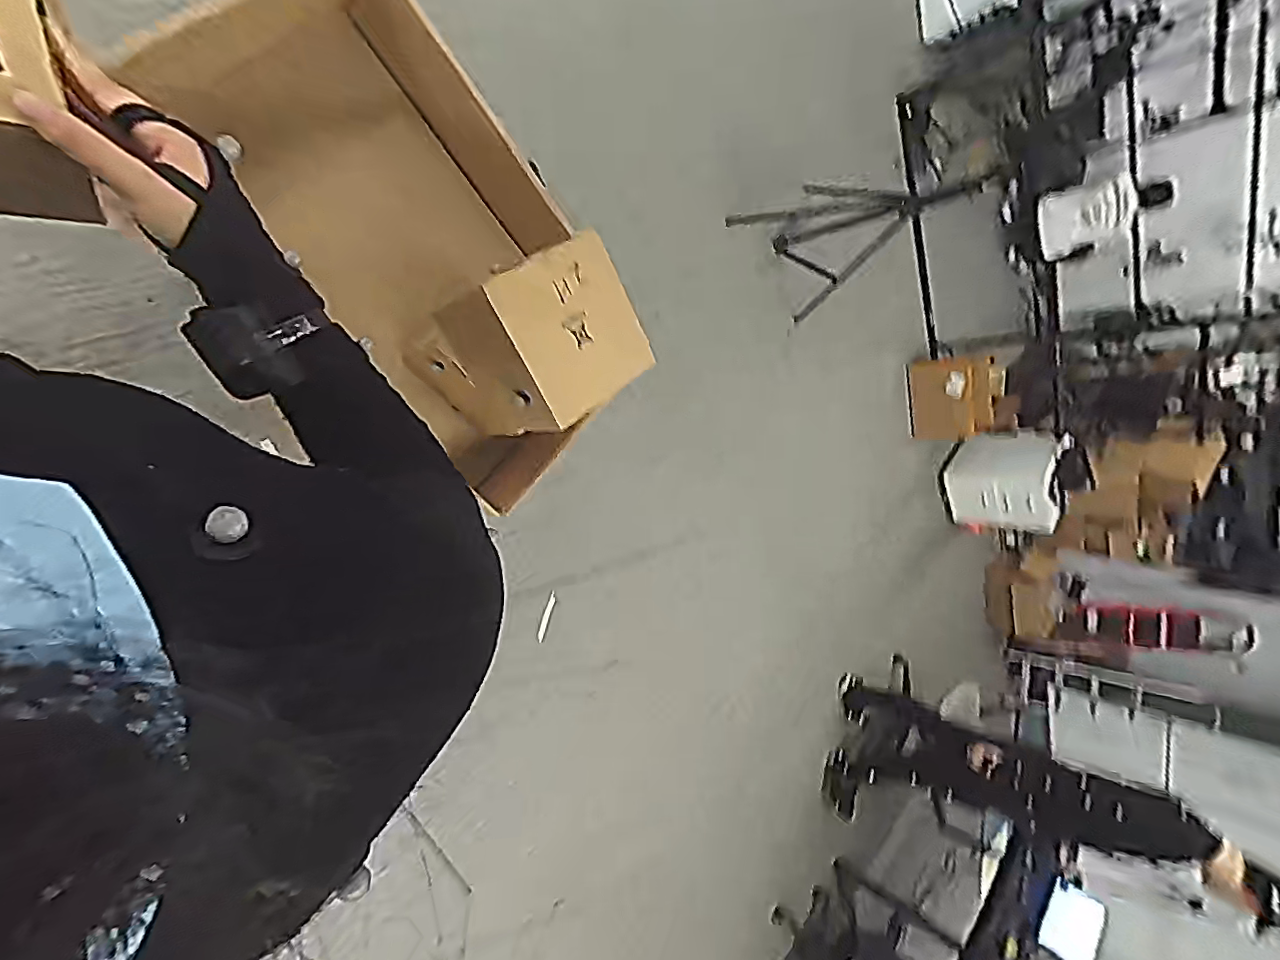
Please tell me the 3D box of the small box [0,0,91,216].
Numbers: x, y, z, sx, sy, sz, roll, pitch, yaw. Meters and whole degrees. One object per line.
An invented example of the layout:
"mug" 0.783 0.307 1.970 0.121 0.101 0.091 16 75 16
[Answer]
"small box" -0.461 -0.271 0.315 0.179 0.176 0.168 -12 100 -38

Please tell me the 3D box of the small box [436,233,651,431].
"small box" -0.122 -0.178 0.683 0.168 0.176 0.179 -40 116 -29
